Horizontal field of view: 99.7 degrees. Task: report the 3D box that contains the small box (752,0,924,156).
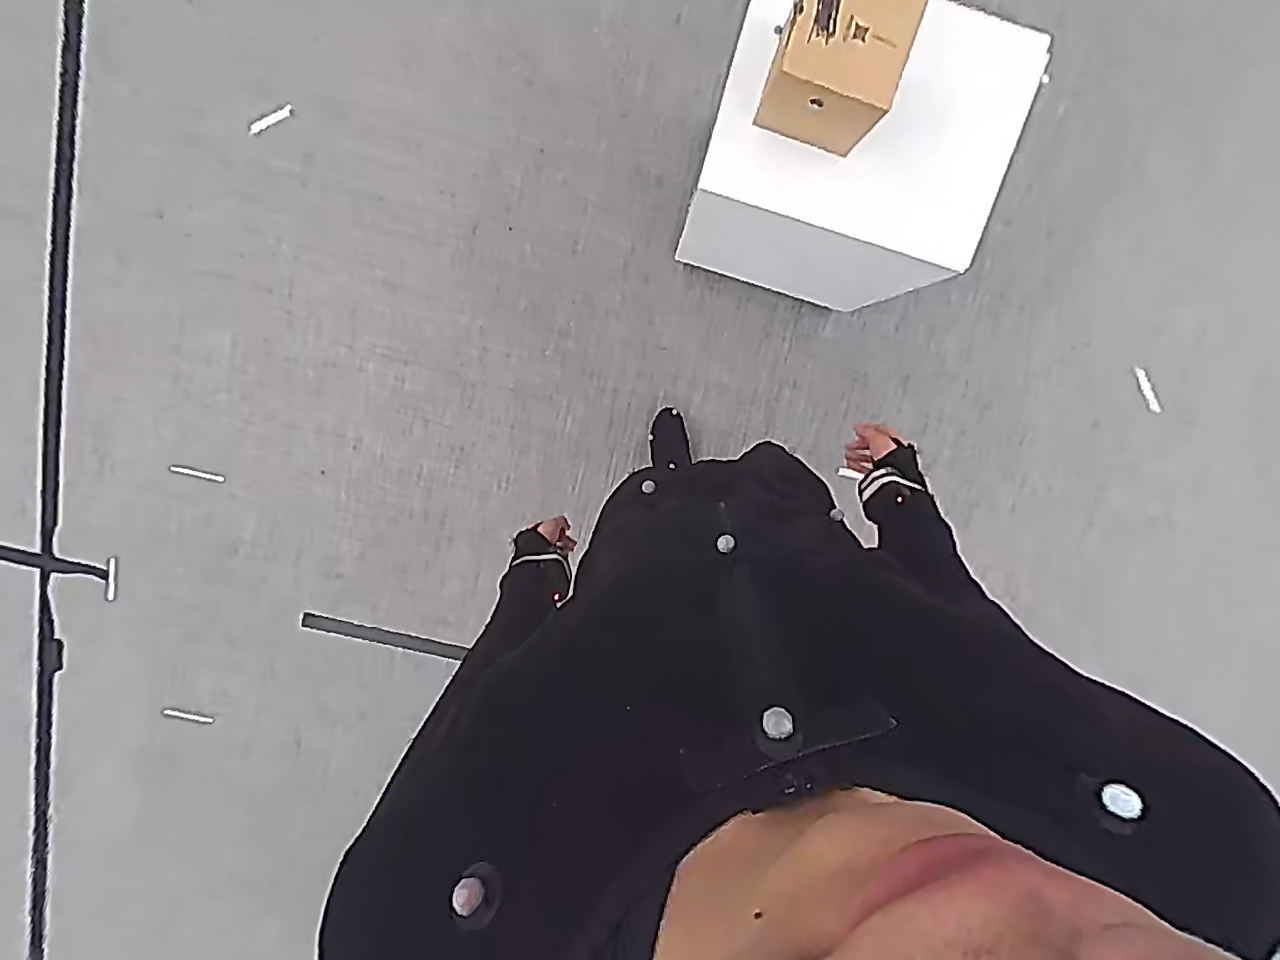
[{"bbox_3d":[0.294,-0.644,0.846,0.179,0.176,0.168,17,99,-5],"label":"small box"}]
